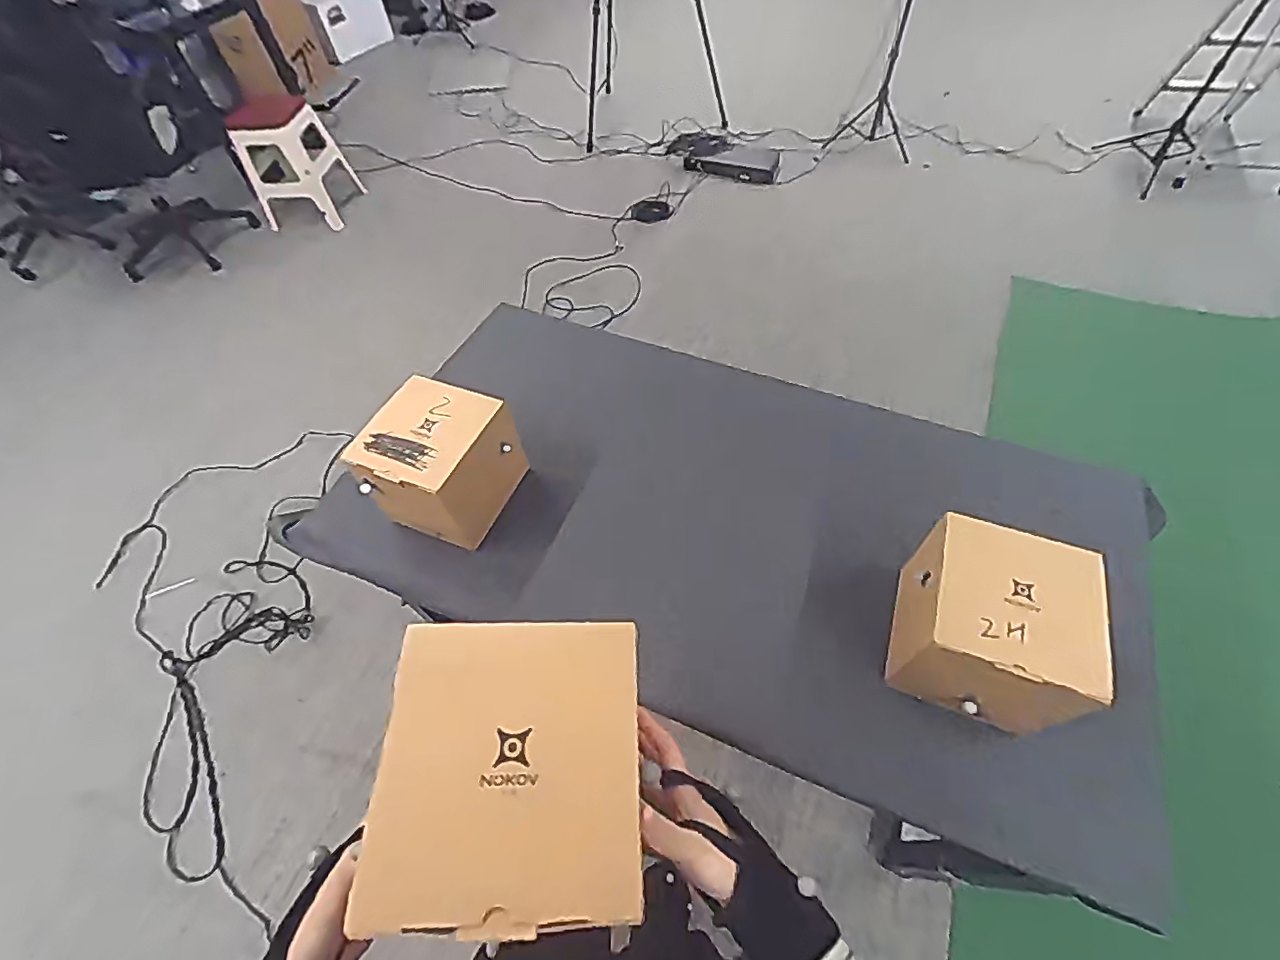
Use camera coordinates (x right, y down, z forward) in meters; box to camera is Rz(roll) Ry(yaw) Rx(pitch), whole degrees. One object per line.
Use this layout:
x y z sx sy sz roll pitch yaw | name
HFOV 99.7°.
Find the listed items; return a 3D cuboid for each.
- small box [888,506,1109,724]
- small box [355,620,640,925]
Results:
0.416 0.165 0.652 0.168 0.176 0.179 16 59 16 | small box
-0.090 0.222 0.423 0.168 0.176 0.179 0 58 -5 | small box
